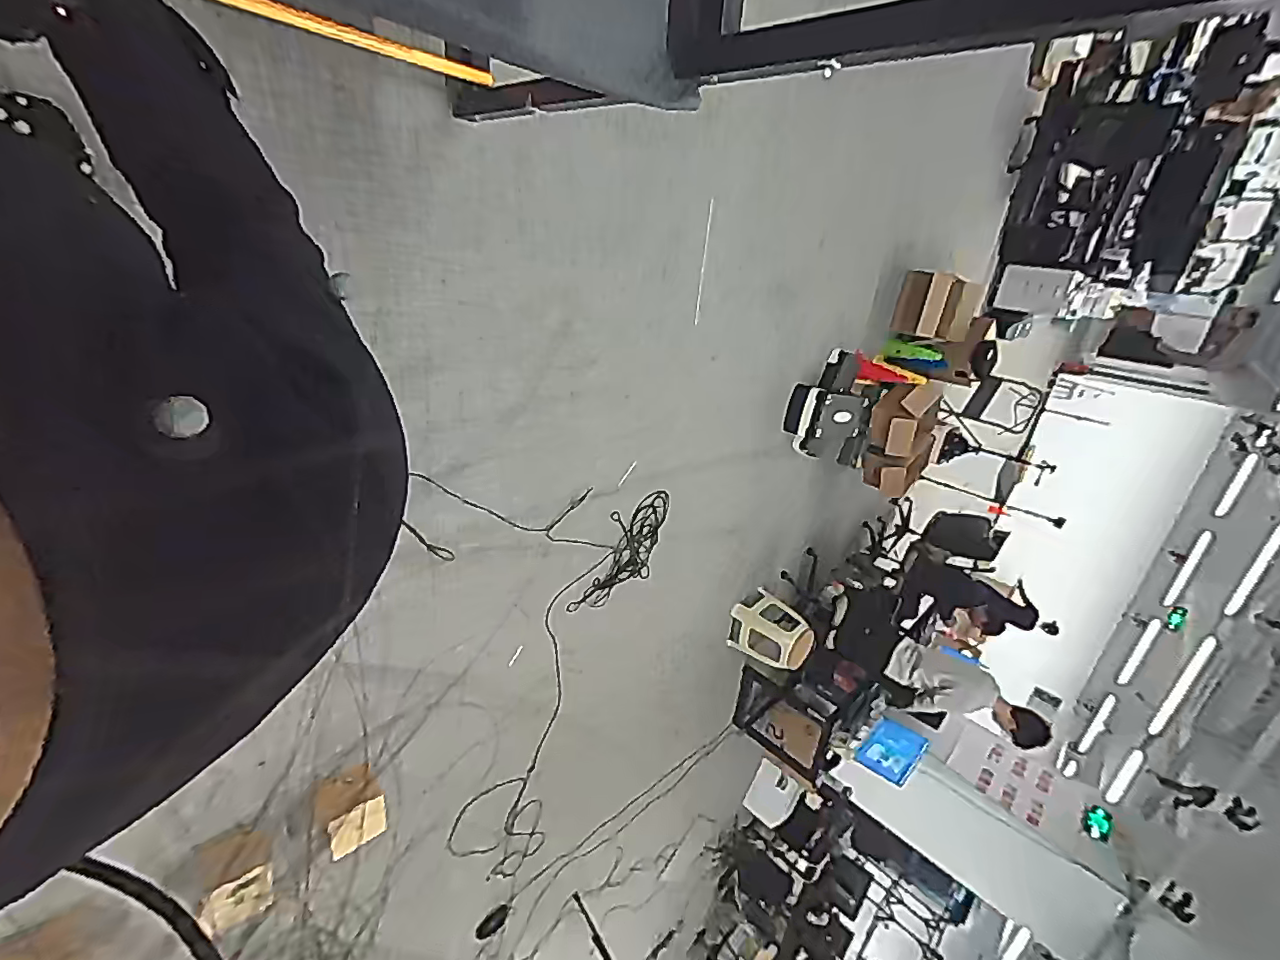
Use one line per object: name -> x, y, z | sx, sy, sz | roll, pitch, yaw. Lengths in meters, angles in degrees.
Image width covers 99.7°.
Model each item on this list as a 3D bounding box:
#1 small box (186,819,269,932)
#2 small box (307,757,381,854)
small box -> -1.190, 1.124, 1.560 | 0.168, 0.176, 0.179 | -7, 116, -46
small box -> -0.971, 1.060, 1.776 | 0.168, 0.176, 0.179 | -15, 121, -44
